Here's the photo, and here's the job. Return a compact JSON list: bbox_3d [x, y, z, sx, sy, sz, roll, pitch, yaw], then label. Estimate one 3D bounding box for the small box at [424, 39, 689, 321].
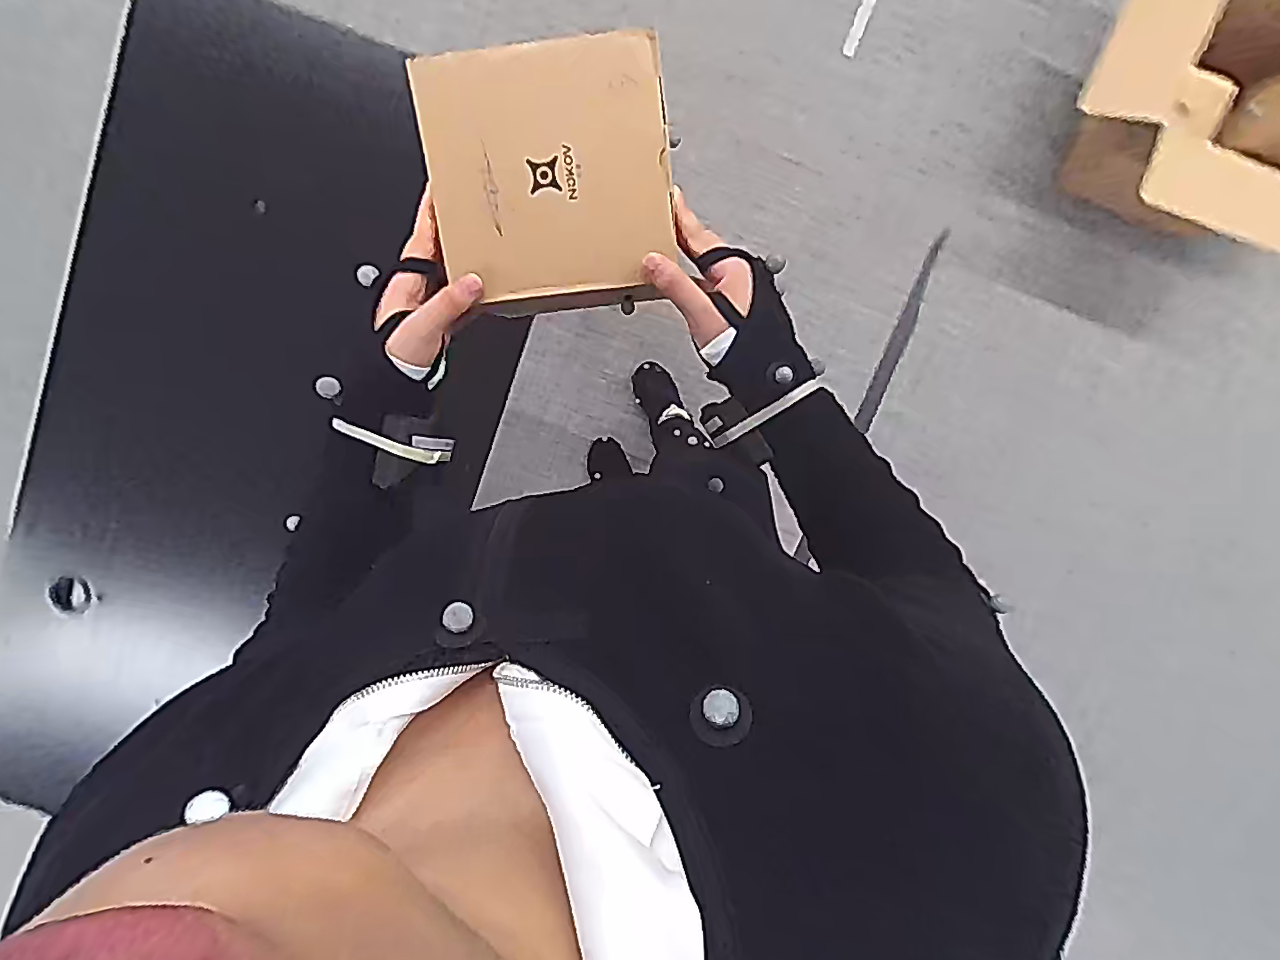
[{"bbox_3d":[-0.056,-0.234,0.468,0.179,0.176,0.168,-5,102,3],"label":"small box"}]
